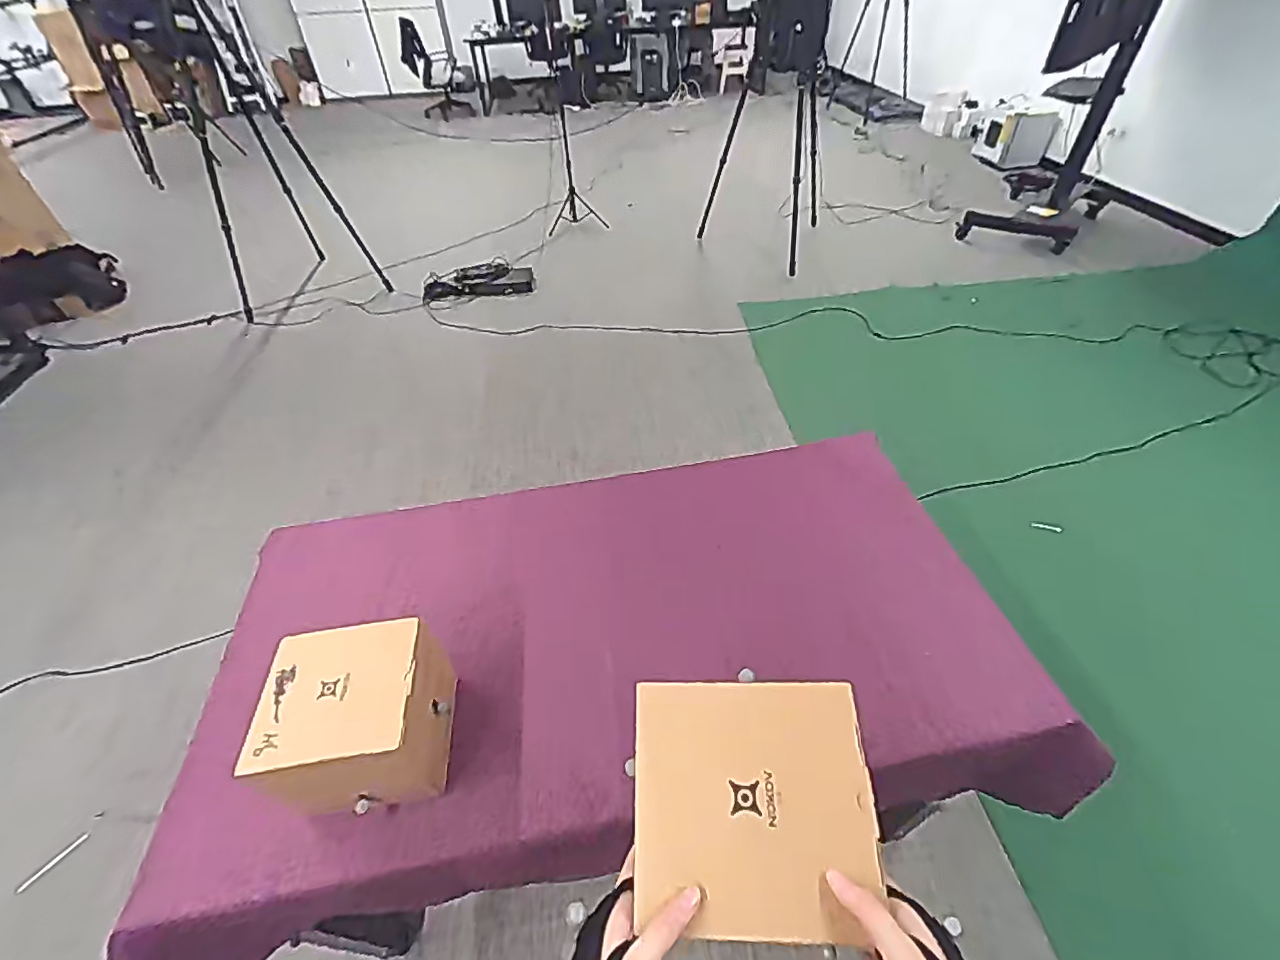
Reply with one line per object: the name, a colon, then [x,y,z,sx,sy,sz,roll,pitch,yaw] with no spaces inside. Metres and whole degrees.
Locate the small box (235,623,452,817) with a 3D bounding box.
small box: [-0.353,0.307,0.691,0.179,0.176,0.168,-7,44,-4]

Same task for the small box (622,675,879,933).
small box: [0.083,0.274,0.473,0.179,0.176,0.168,-1,59,4]
